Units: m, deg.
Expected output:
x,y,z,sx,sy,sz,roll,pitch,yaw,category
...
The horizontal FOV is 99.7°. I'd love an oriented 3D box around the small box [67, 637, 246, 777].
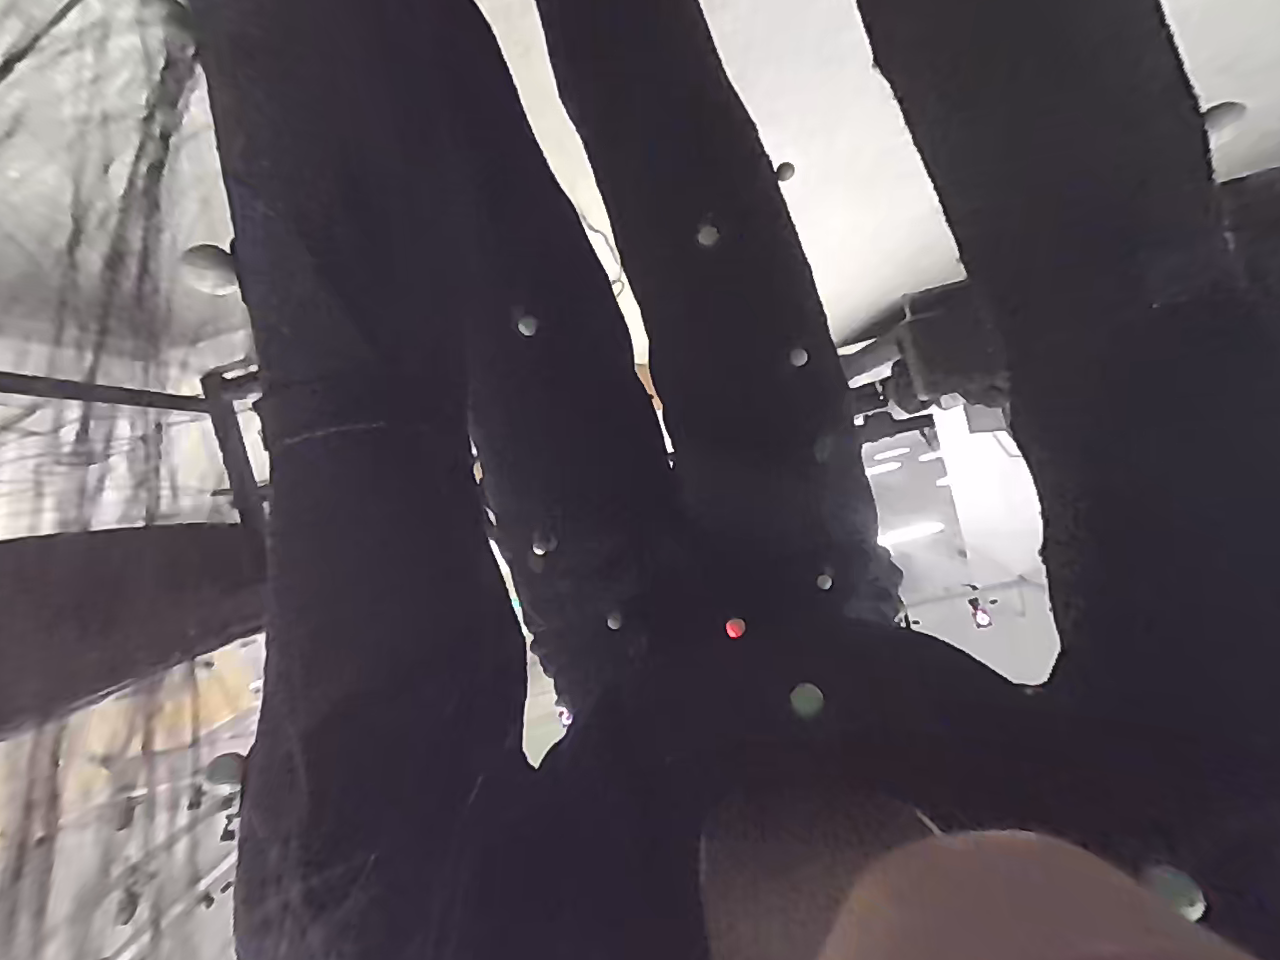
x,y,z,sx,sy,sz,roll,pitch,yaw,category
-0.881,0.403,0.991,0.179,0.176,0.168,-14,-178,3,small box
